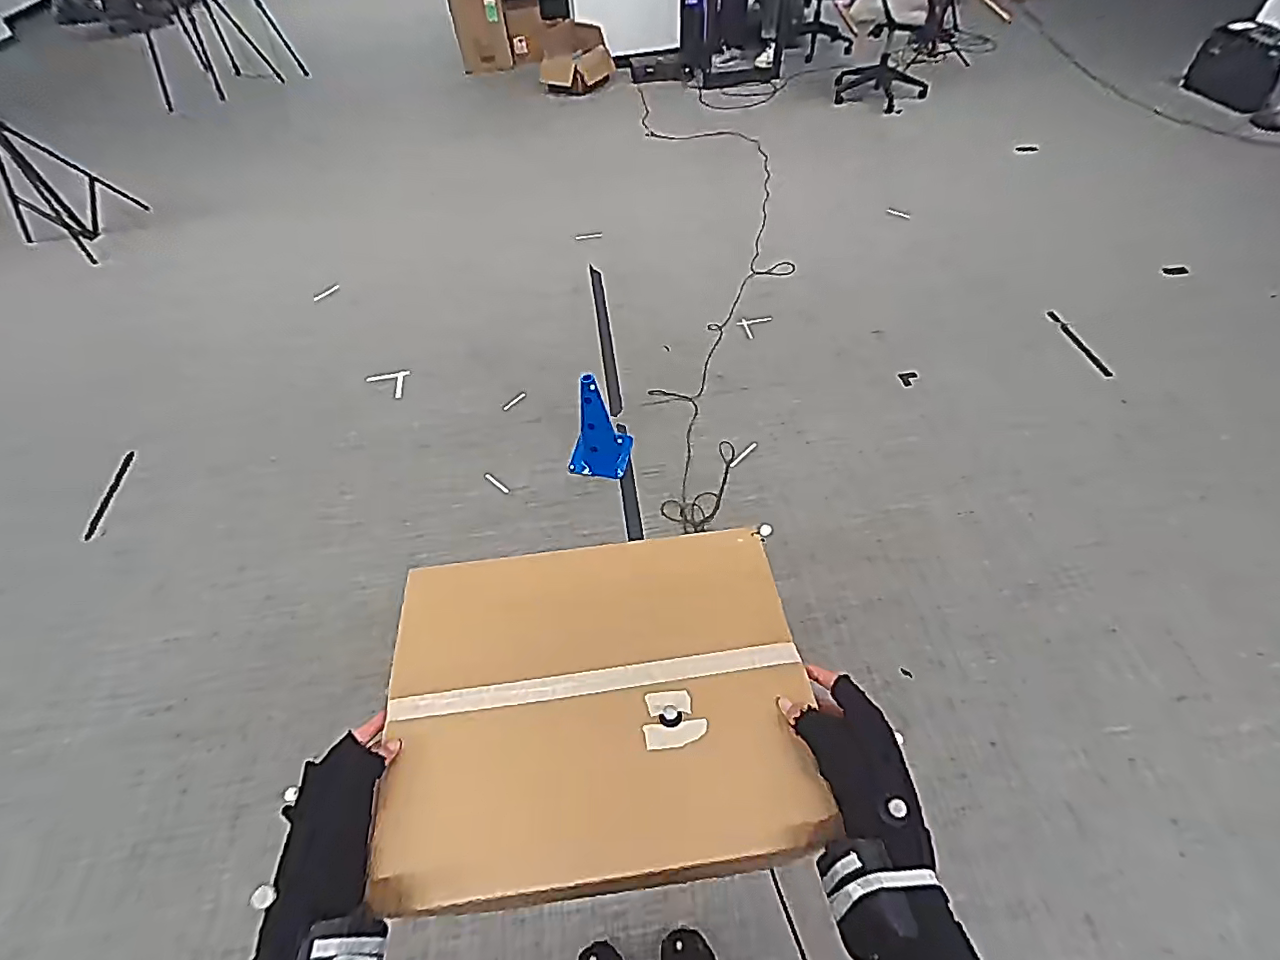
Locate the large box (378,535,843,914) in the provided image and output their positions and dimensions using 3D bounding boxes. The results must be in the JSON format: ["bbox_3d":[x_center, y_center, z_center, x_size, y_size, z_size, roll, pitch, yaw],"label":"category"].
[{"bbox_3d":[-0.036,0.300,0.659,0.408,0.320,0.320,-6,51,-3],"label":"large box"}]

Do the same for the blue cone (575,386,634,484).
[{"bbox_3d":[-0.137,-0.170,1.801,0.193,0.380,0.192,8,54,11],"label":"blue cone"}]
